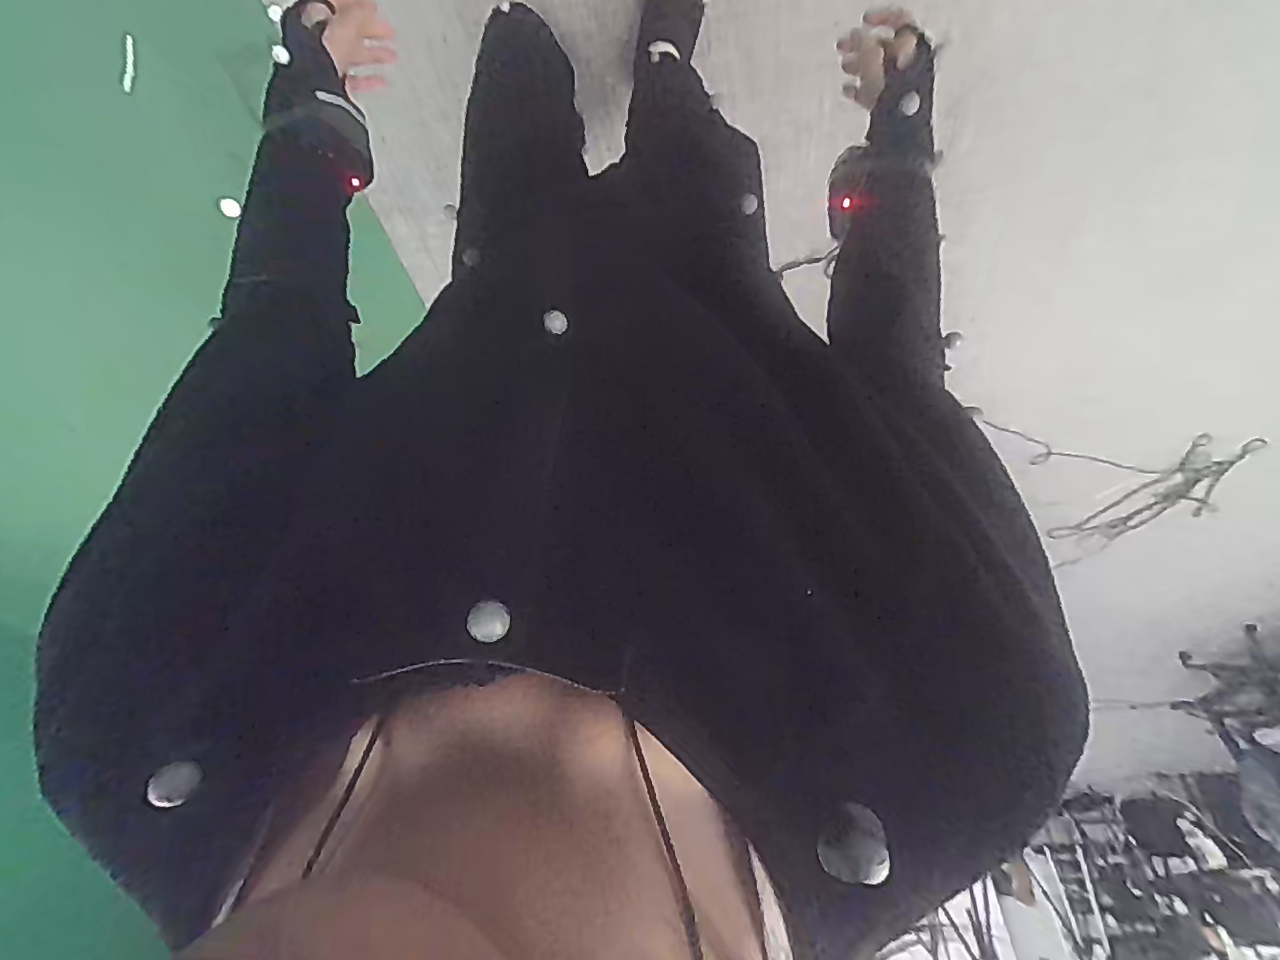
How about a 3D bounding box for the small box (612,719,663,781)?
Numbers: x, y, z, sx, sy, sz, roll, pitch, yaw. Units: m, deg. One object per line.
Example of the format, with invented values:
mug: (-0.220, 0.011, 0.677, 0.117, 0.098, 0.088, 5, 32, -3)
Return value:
small box: (-0.009, 0.966, 1.941, 0.168, 0.176, 0.179, -4, 140, 6)
